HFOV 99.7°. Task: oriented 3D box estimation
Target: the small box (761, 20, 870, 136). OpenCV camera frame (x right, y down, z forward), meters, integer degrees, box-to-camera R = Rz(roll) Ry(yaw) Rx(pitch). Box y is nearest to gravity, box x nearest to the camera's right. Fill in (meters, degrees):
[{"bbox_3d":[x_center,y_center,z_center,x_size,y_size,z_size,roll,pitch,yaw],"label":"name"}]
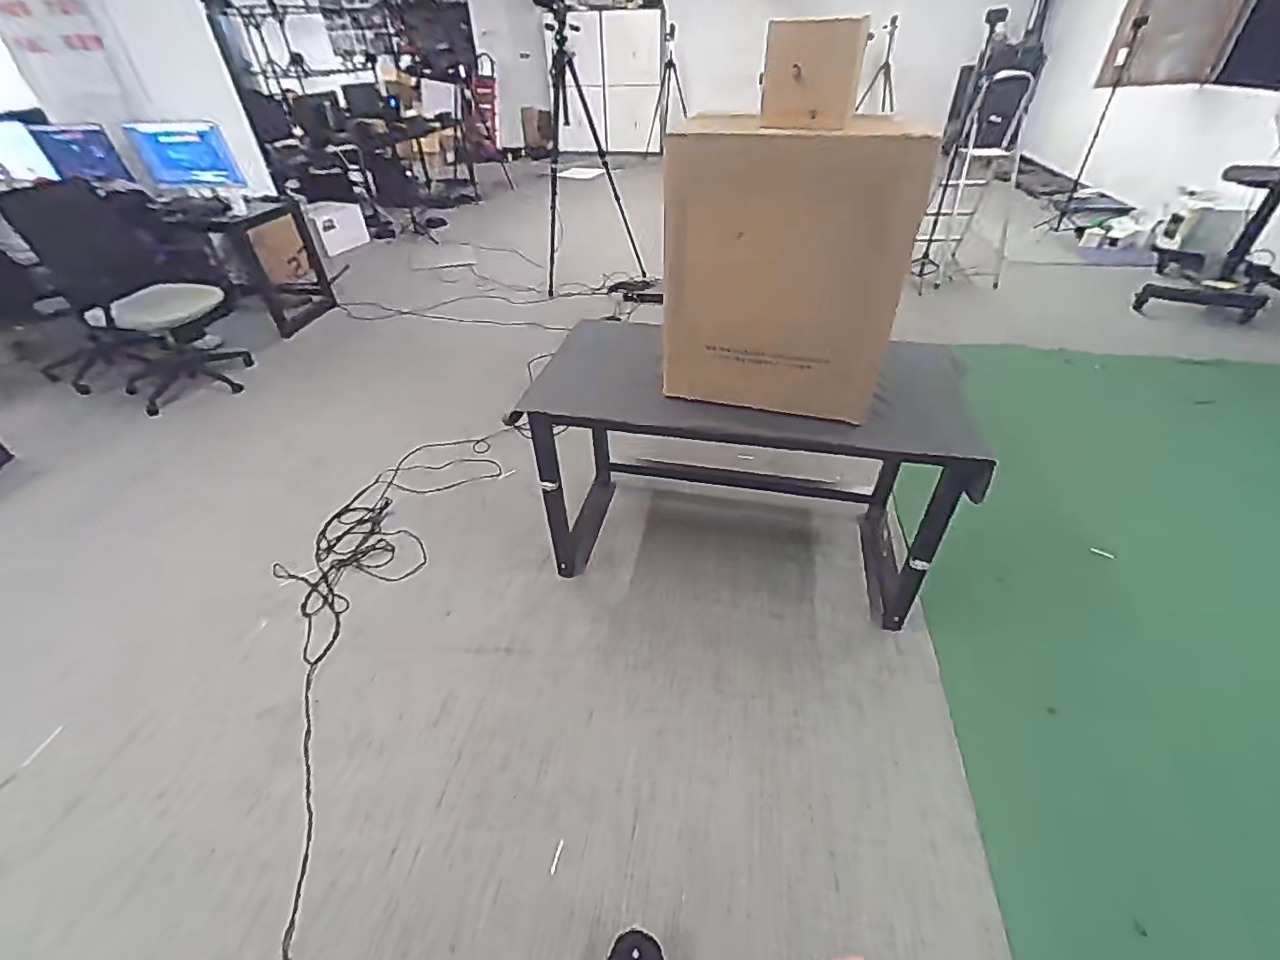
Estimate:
[{"bbox_3d":[0.340,-0.786,1.062,0.168,0.176,0.179,14,43,18],"label":"small box"}]
